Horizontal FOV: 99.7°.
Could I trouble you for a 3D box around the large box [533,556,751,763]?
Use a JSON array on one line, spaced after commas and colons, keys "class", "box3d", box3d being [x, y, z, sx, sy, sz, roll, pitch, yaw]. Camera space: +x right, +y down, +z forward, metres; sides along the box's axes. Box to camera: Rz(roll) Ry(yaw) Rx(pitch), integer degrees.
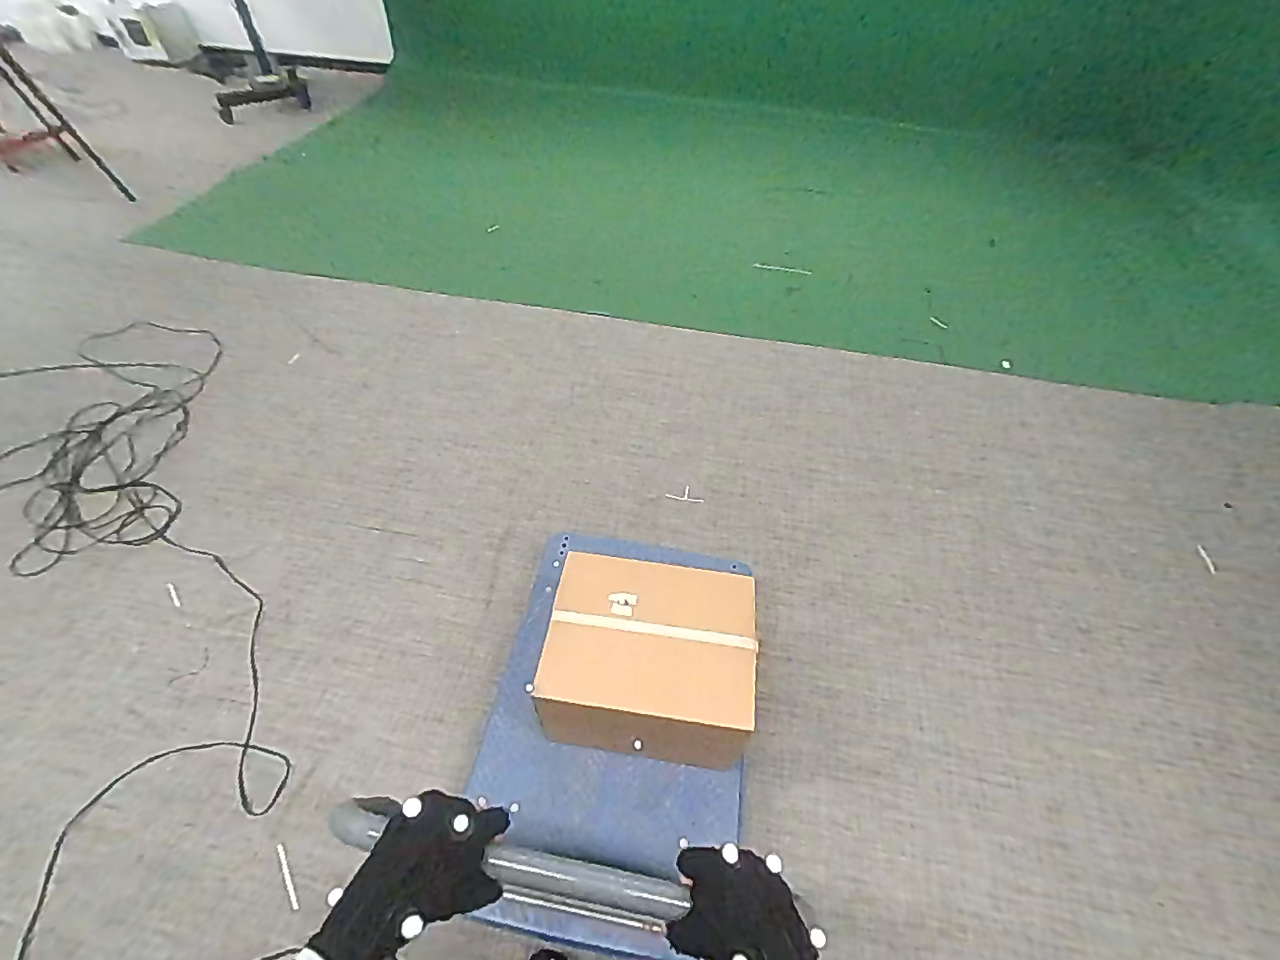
[{"class": "large box", "box3d": [0.019, 0.397, 1.182, 0.408, 0.320, 0.320, 7, 50, 5]}]
